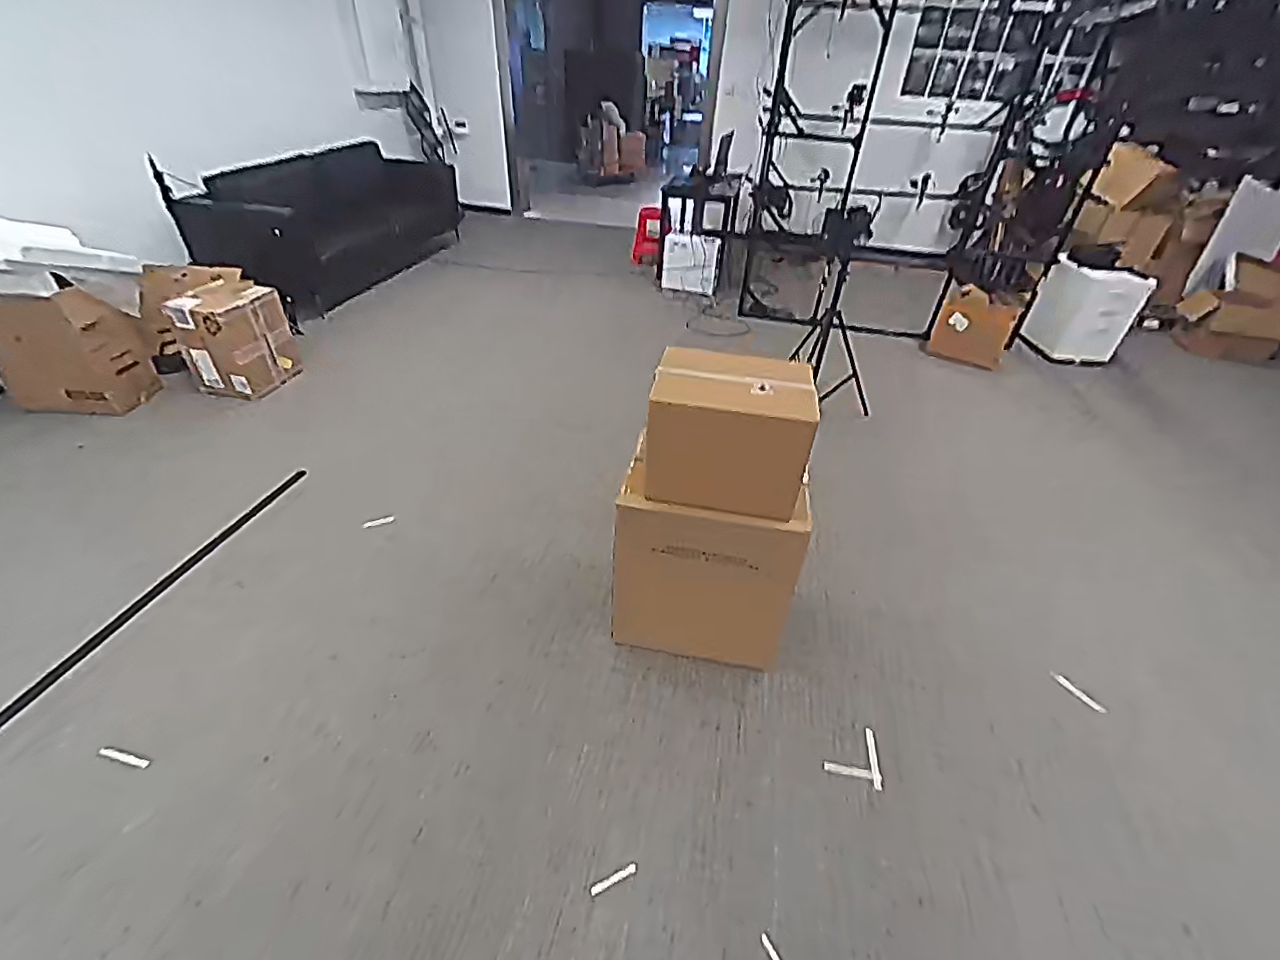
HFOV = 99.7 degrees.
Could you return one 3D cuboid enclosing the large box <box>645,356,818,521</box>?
[{"bbox_3d":[0.237,-0.119,1.491,0.408,0.320,0.320,9,38,6],"label":"large box"}]
